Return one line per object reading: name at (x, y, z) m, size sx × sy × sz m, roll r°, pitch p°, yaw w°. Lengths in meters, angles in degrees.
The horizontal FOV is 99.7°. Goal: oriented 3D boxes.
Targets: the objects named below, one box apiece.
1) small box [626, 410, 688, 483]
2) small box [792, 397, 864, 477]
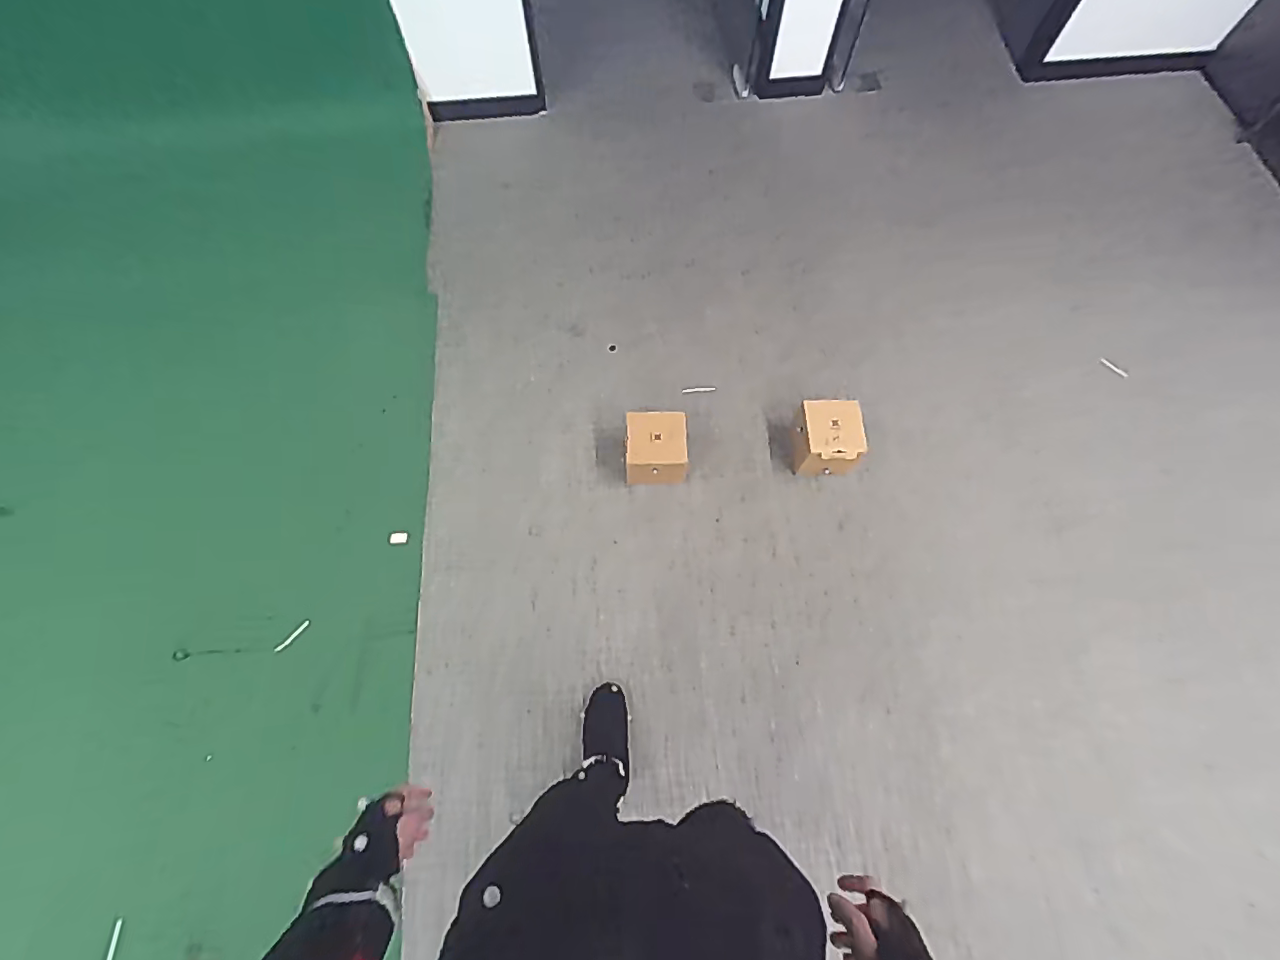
small box at (0.048, -0.095, 1.614) m, size 0.179 × 0.176 × 0.168 m, roll 0°, pitch 69°, yaw 0°
small box at (0.559, -0.127, 1.624) m, size 0.168 × 0.176 × 0.179 m, roll 5°, pitch 69°, yaw 4°
